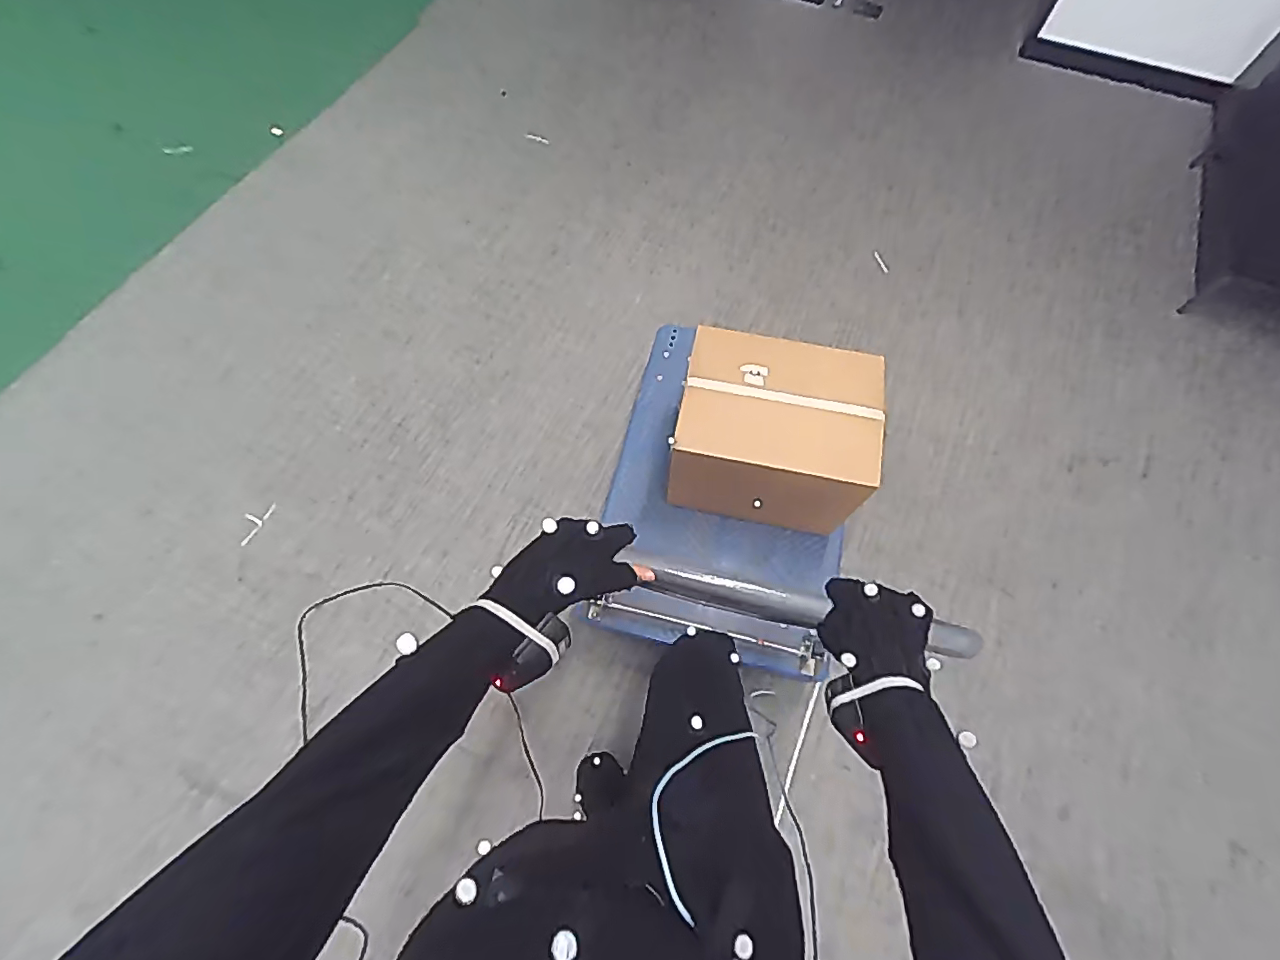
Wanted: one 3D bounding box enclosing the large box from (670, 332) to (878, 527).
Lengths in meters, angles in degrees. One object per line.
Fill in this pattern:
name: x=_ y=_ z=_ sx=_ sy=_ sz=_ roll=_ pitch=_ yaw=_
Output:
large box: x=0.294 y=-0.103 z=1.255 sx=0.408 sy=0.320 sz=0.320 roll=10 pitch=67 yaw=6
